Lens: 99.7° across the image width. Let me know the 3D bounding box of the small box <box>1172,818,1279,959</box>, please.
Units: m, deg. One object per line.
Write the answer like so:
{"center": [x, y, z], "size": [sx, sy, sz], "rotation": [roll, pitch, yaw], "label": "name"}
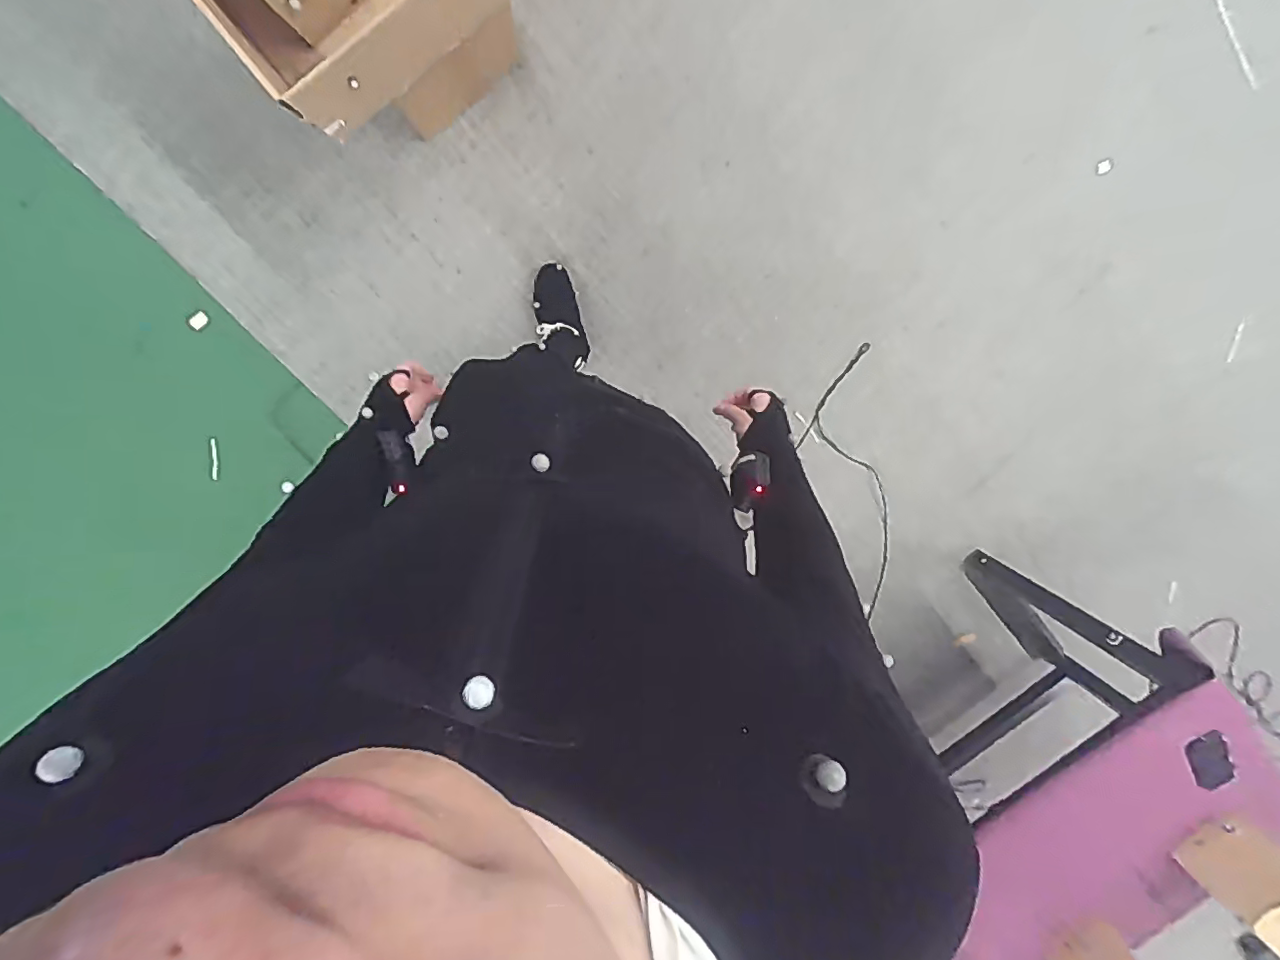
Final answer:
{"center": [1.349, 0.893, 1.192], "size": [0.179, 0.176, 0.168], "rotation": [43, 98, -16], "label": "small box"}
